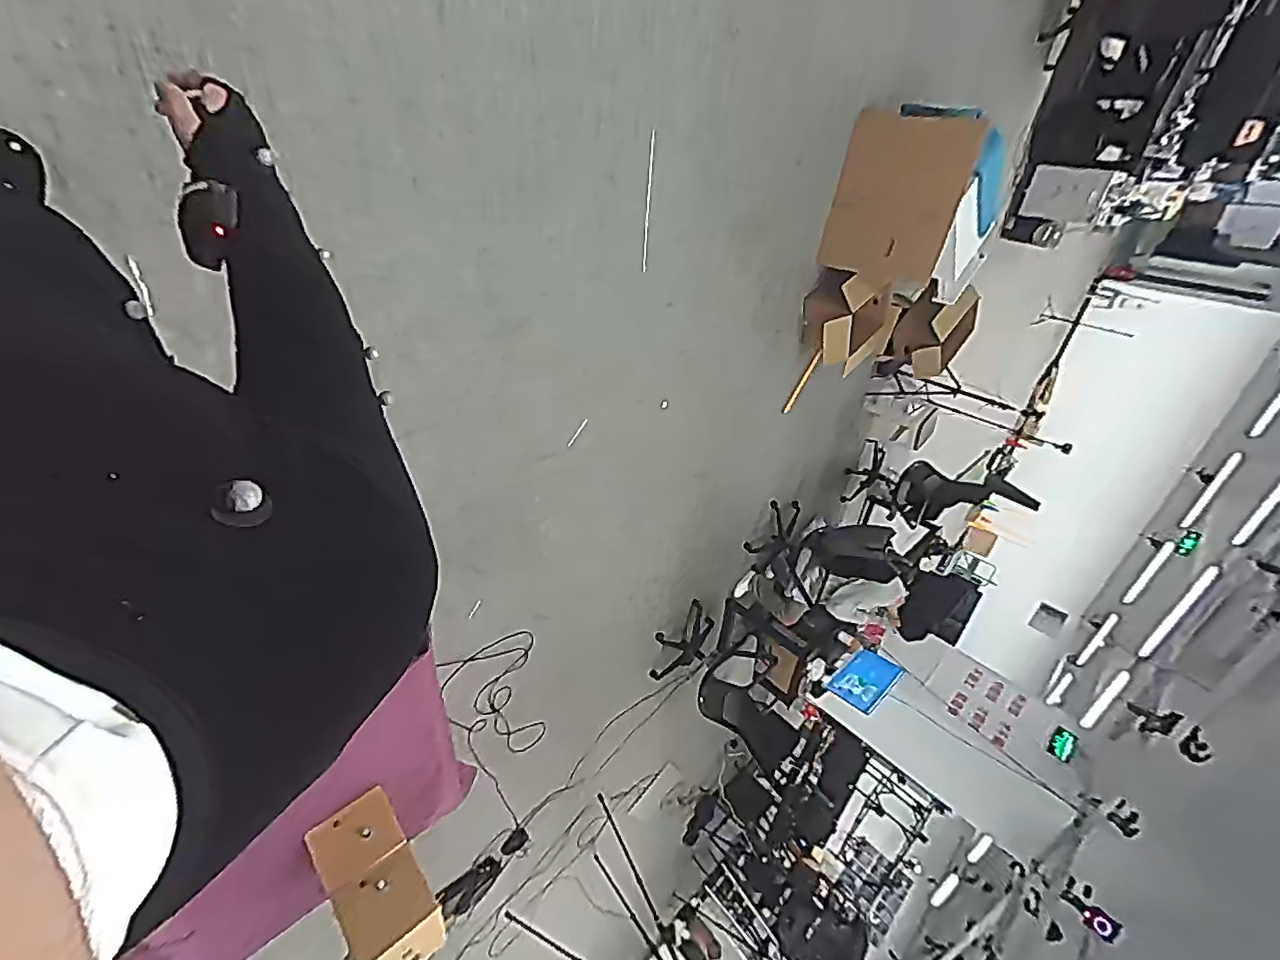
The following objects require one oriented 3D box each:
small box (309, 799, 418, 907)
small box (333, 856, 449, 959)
[{"bbox_3d":[-0.637,0.886,1.253,0.168,0.176,0.179,-26,134,-36],"label":"small box"},{"bbox_3d":[-0.528,0.960,1.154,0.168,0.176,0.179,-22,130,-40],"label":"small box"}]
